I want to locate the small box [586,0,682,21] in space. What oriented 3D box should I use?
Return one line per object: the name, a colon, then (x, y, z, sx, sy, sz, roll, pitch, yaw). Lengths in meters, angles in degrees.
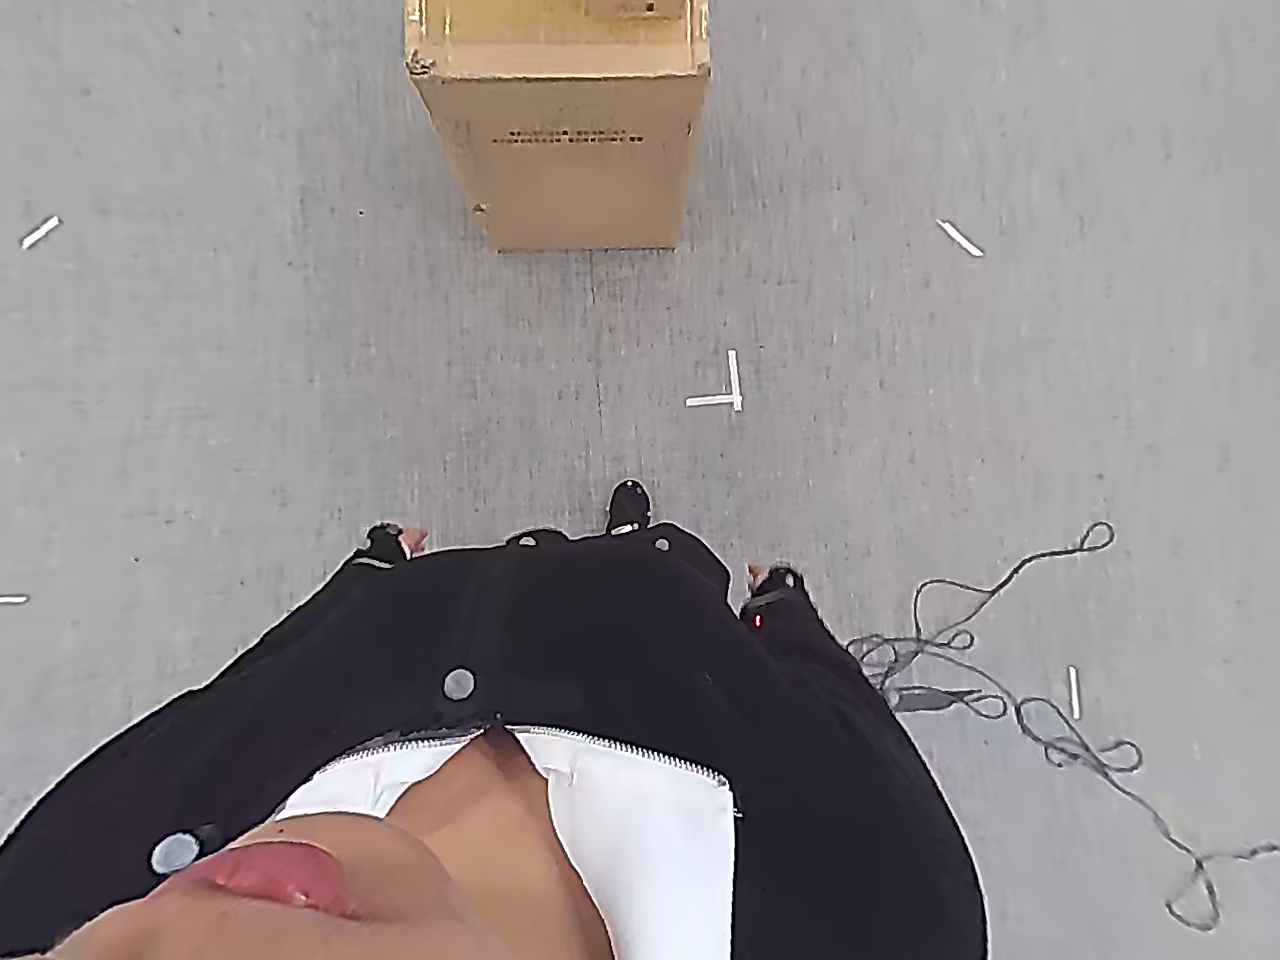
small box: (-0.012, -0.888, 0.861, 0.168, 0.176, 0.179, -2, 87, -1)
